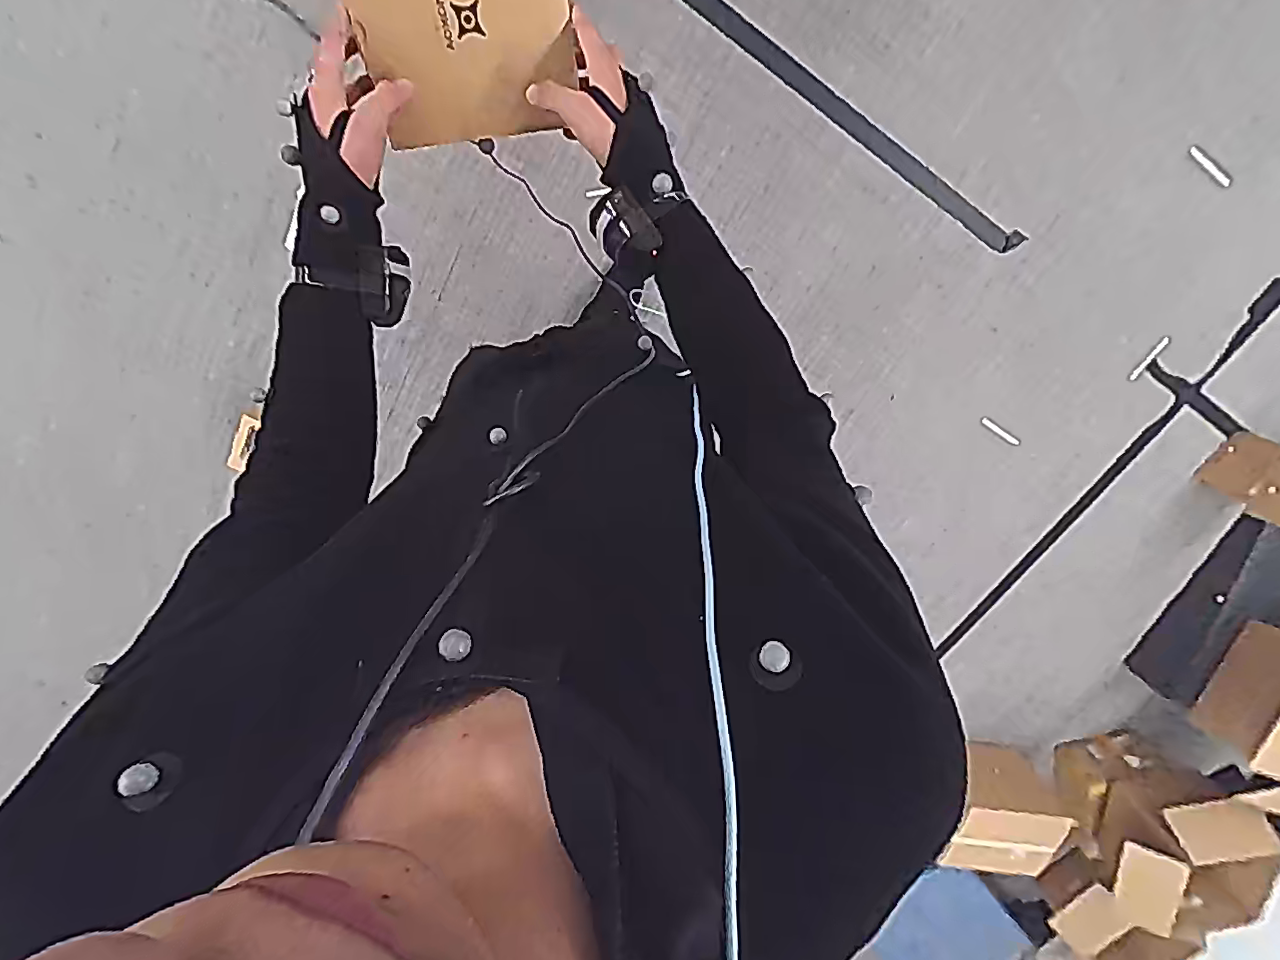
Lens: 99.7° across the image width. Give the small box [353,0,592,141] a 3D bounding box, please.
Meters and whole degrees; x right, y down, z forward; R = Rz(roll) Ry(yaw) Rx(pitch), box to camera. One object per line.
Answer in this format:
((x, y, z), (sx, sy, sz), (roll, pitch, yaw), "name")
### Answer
((-0.146, -0.424, 0.488), (0.179, 0.176, 0.168), (-9, 131, -3), "small box")
